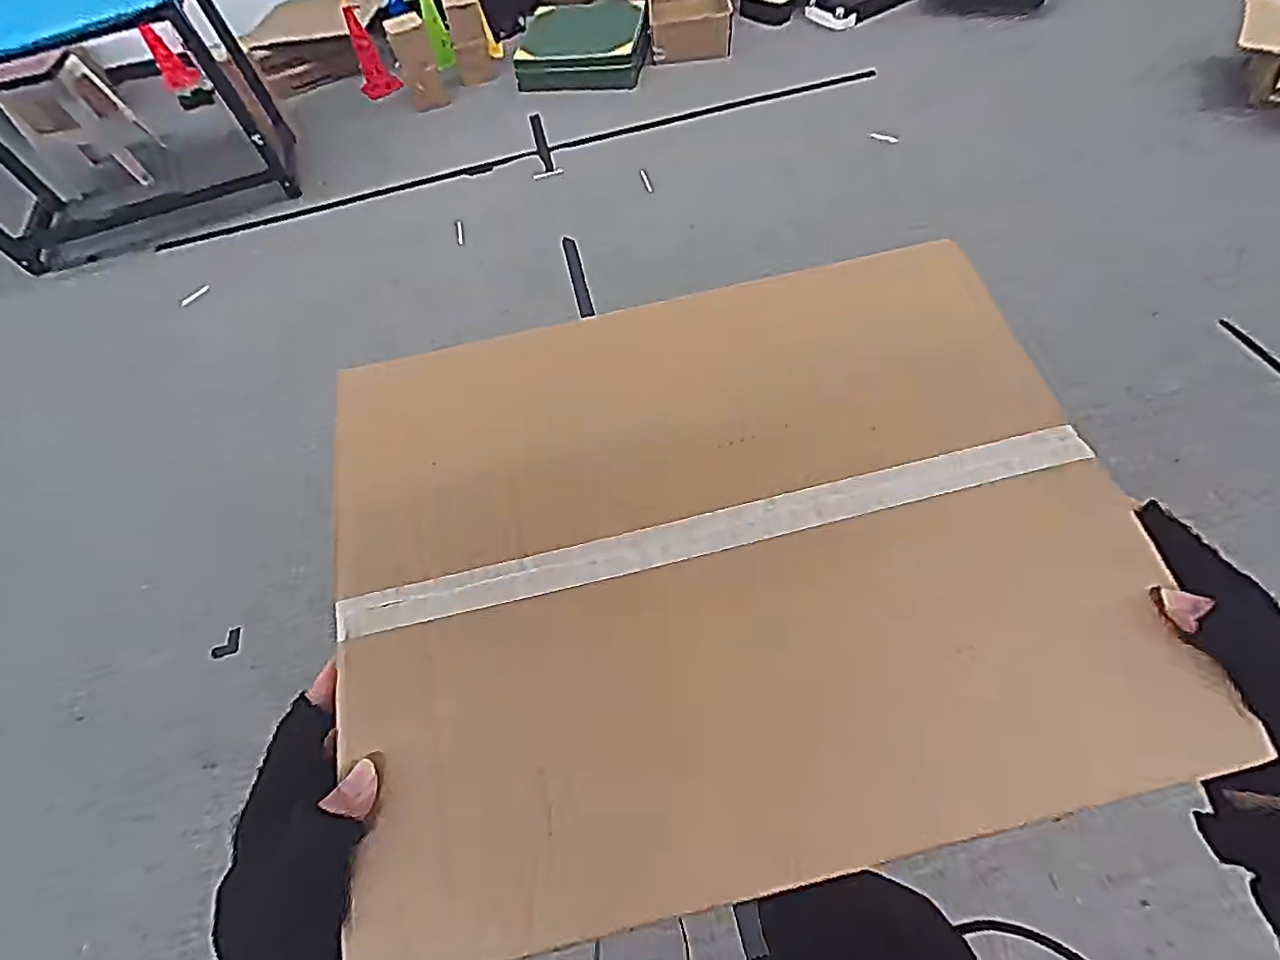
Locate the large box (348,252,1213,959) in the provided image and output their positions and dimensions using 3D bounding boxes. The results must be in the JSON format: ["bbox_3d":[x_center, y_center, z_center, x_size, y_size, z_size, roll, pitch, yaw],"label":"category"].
[{"bbox_3d":[0.051,0.086,0.434,0.408,0.320,0.320,-14,67,-2],"label":"large box"}]
